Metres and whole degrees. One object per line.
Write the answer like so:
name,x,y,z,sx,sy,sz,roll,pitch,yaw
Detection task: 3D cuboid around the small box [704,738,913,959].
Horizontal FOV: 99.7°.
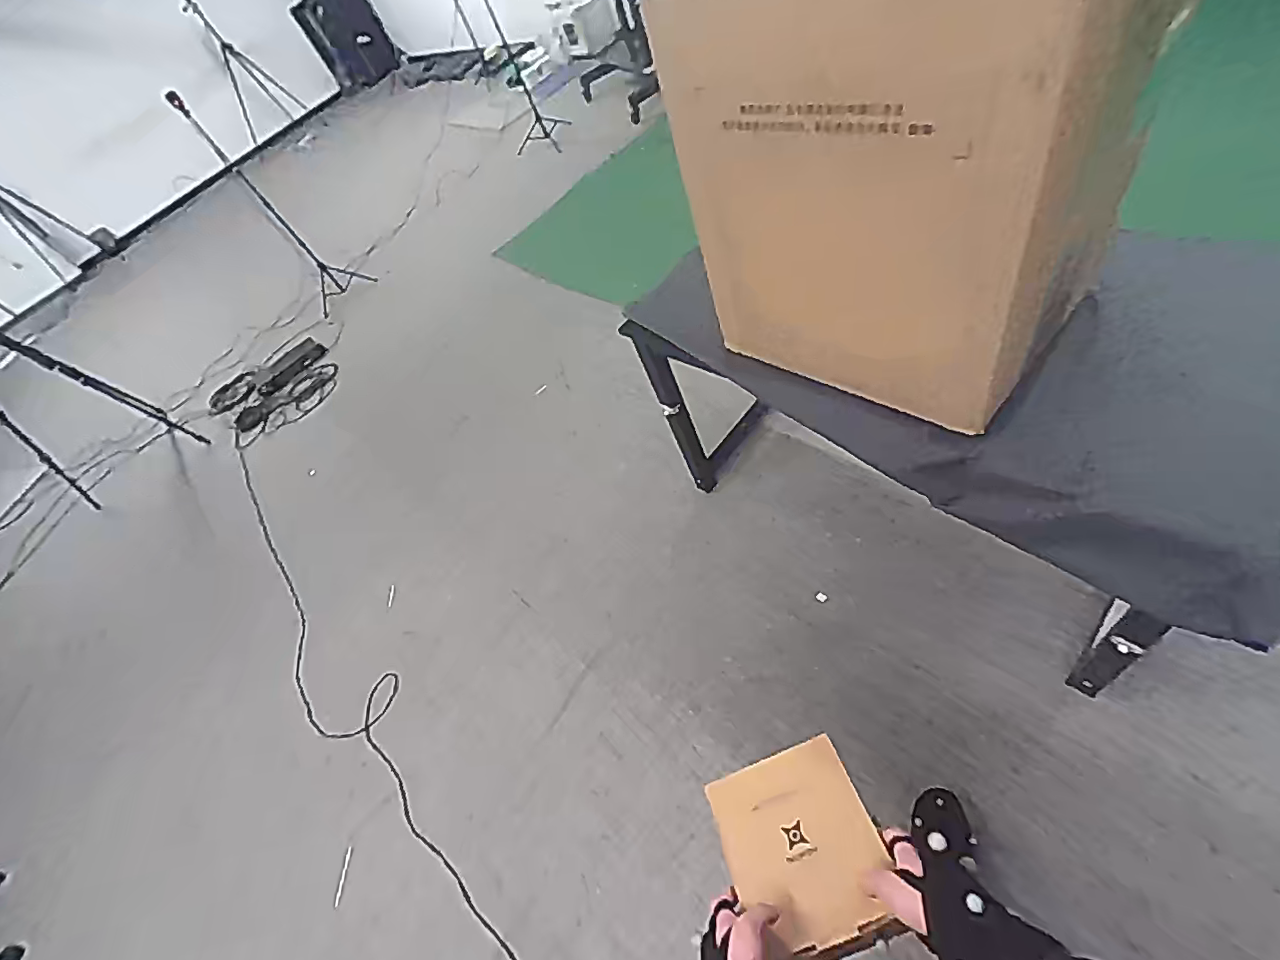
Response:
small box,0.200,0.449,0.641,0.168,0.176,0.179,-26,39,2
